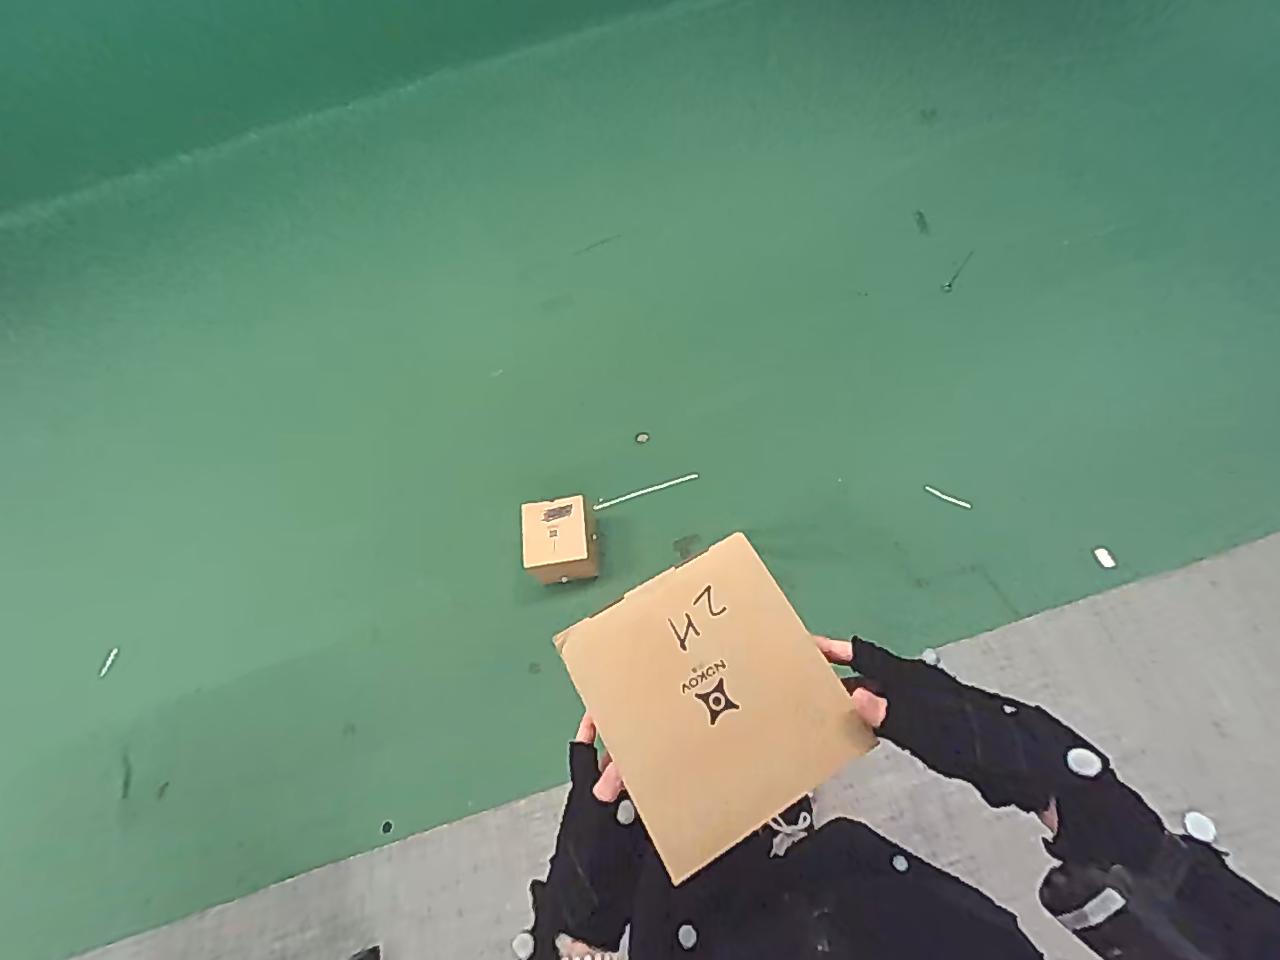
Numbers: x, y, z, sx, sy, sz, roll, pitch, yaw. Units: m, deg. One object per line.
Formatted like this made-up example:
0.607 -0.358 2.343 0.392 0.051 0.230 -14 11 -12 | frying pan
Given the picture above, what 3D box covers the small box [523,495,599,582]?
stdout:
-0.209 0.160 1.442 0.168 0.176 0.179 -9 65 4 | small box
